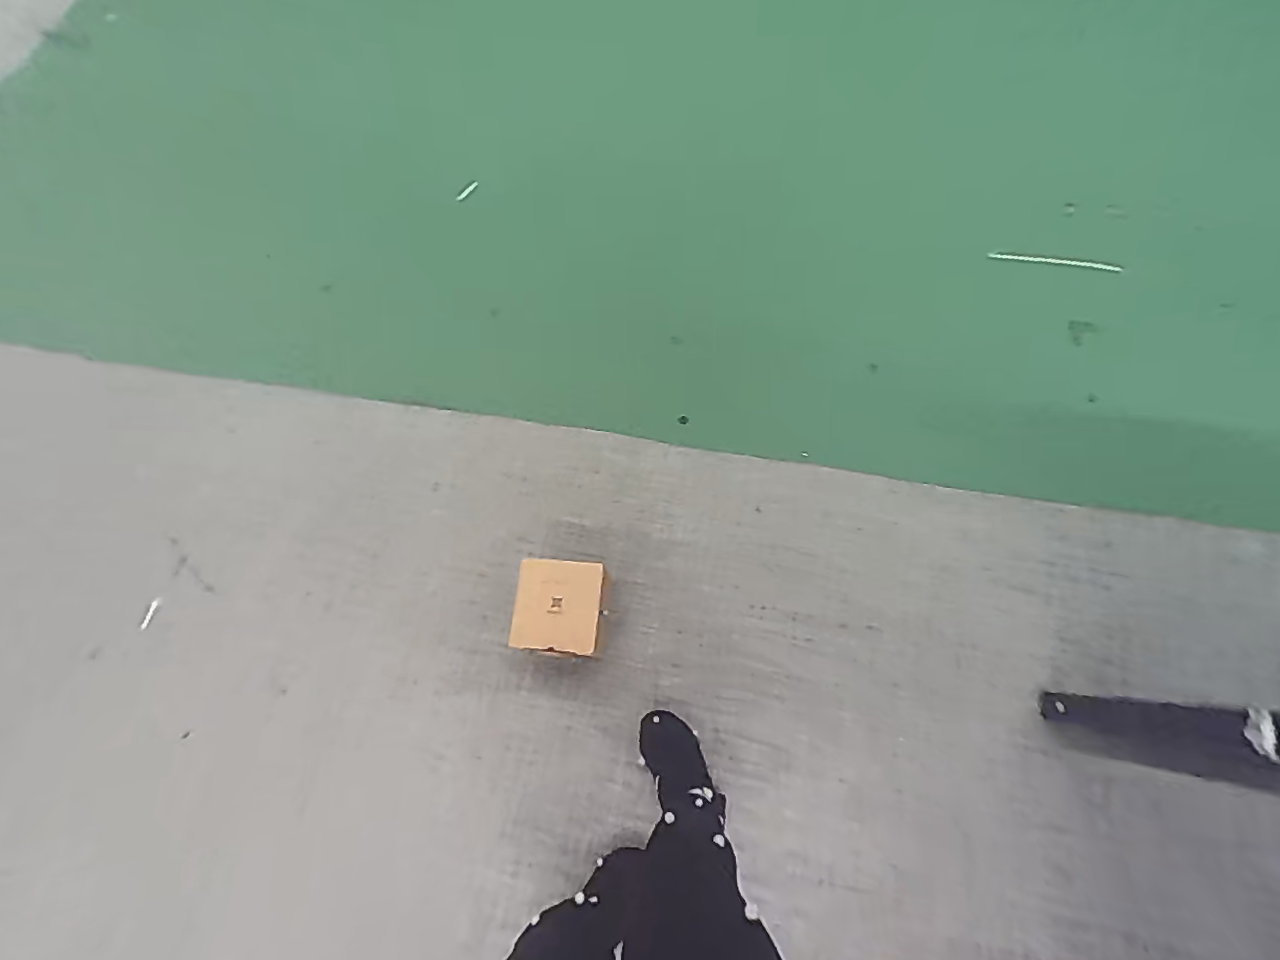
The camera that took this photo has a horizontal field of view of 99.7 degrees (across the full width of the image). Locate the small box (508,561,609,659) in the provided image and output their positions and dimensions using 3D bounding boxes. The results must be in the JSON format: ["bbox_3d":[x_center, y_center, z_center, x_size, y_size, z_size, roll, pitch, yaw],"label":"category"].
[{"bbox_3d":[-0.158,0.273,1.118,0.168,0.176,0.179,4,70,4],"label":"small box"}]
